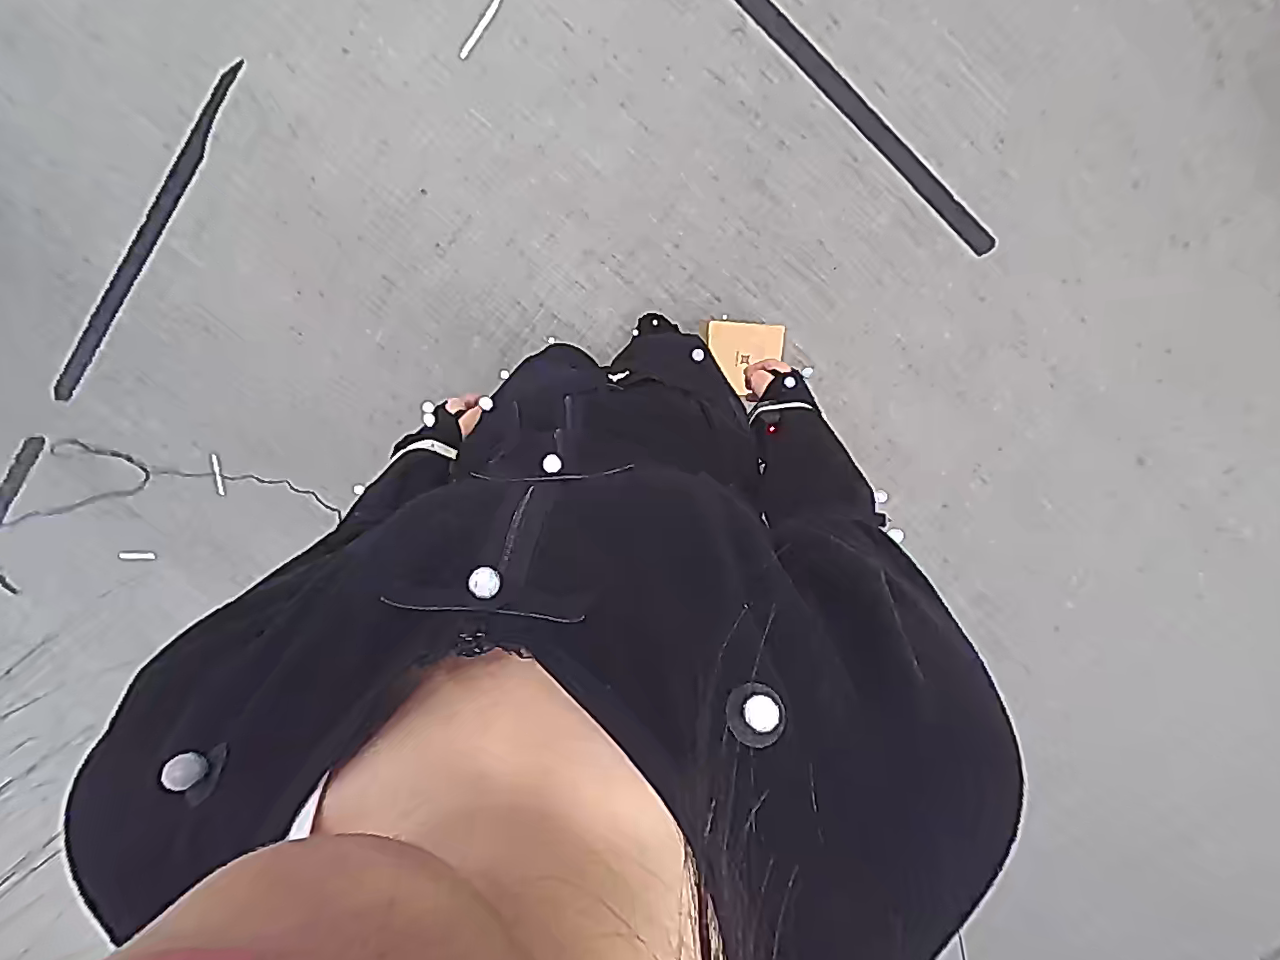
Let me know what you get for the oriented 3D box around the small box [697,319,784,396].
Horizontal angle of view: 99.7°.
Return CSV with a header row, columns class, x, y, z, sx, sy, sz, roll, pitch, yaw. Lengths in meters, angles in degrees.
class,x,y,z,sx,sy,sz,roll,pitch,yaw
small box,0.237,-0.304,1.324,0.179,0.176,0.168,3,108,0
